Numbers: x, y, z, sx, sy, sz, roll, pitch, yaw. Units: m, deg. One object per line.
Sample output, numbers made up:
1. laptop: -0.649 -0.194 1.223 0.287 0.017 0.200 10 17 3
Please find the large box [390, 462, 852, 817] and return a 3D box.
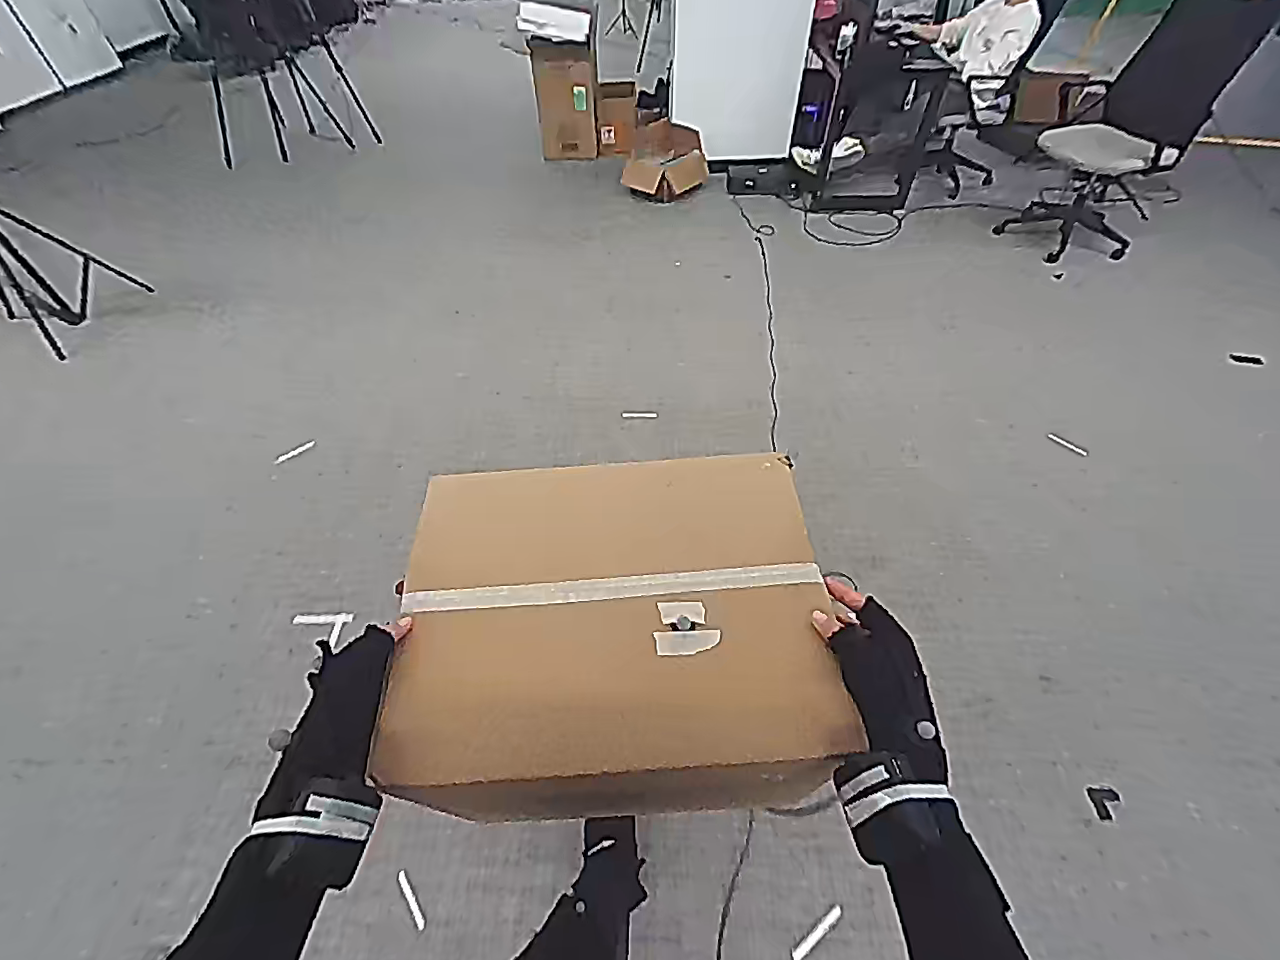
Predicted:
1. large box: -0.020 0.204 0.663 0.408 0.320 0.320 -4 53 0
